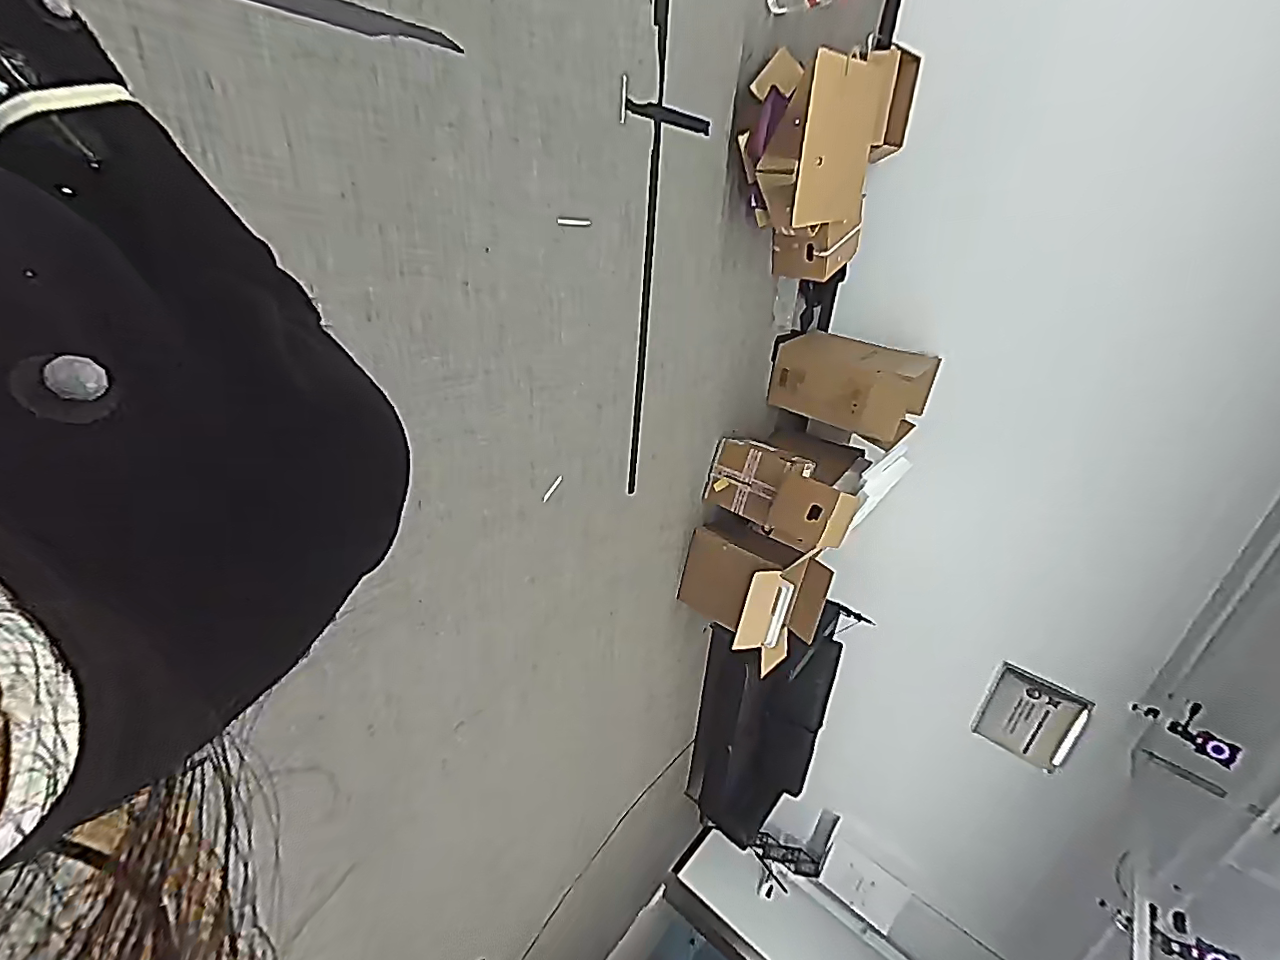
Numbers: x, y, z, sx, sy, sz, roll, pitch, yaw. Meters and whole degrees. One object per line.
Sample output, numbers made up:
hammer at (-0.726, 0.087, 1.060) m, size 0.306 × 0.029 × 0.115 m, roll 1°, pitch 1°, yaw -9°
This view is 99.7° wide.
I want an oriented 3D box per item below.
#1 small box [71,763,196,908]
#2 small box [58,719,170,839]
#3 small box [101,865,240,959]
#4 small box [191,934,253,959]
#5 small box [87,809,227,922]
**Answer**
small box at (-1.134, 0.786, 1.220) m, size 0.179 × 0.176 × 0.168 m, roll -14°, pitch 119°, yaw -51°
small box at (-1.261, 0.724, 1.305) m, size 0.179 × 0.176 × 0.168 m, roll -18°, pitch 123°, yaw -49°
small box at (-0.890, 0.900, 1.036) m, size 0.168 × 0.176 × 0.179 m, roll -18°, pitch 122°, yaw -50°
small box at (-0.764, 0.962, 0.950) m, size 0.168 × 0.176 × 0.179 m, roll -21°, pitch 124°, yaw -49°
small box at (-1.010, 0.846, 1.136) m, size 0.179 × 0.176 × 0.168 m, roll -17°, pitch 122°, yaw -49°
